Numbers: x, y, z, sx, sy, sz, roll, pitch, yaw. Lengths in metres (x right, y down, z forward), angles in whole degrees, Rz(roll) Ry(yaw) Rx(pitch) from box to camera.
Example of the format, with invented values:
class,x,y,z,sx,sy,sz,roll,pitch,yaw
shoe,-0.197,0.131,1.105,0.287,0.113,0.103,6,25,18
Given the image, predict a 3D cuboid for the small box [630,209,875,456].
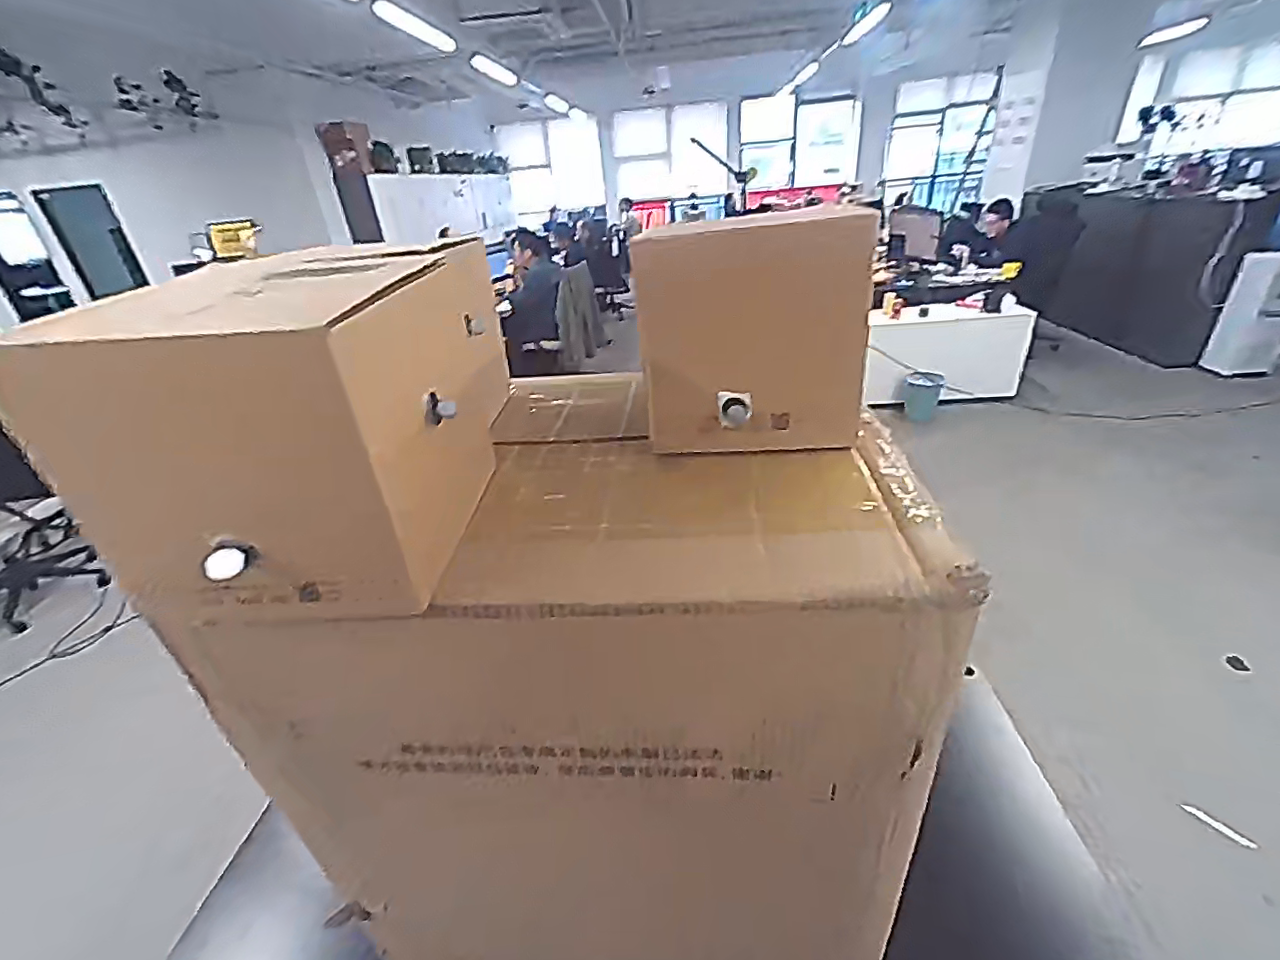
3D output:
class,x,y,z,sx,sy,sz,roll,pitch,yaw
small box,0.091,-0.132,0.471,0.168,0.176,0.179,-3,28,9
